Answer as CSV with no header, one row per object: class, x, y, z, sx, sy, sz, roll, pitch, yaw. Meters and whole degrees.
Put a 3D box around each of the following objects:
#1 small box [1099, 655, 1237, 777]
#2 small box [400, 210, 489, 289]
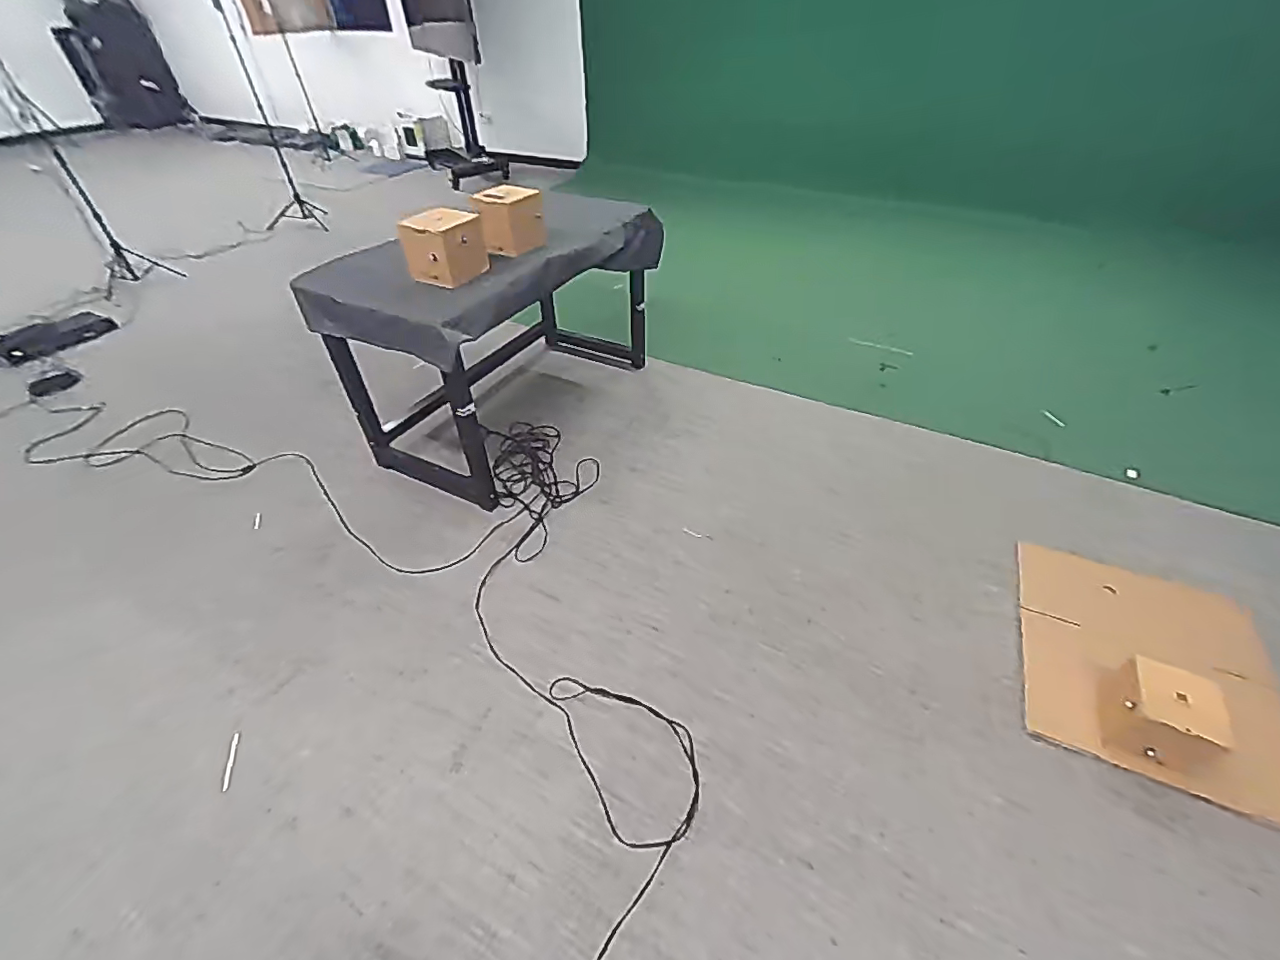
small box,1.231,0.559,1.280,0.168,0.176,0.179,19,46,20
small box,-0.581,-0.697,1.636,0.168,0.176,0.179,20,45,20
